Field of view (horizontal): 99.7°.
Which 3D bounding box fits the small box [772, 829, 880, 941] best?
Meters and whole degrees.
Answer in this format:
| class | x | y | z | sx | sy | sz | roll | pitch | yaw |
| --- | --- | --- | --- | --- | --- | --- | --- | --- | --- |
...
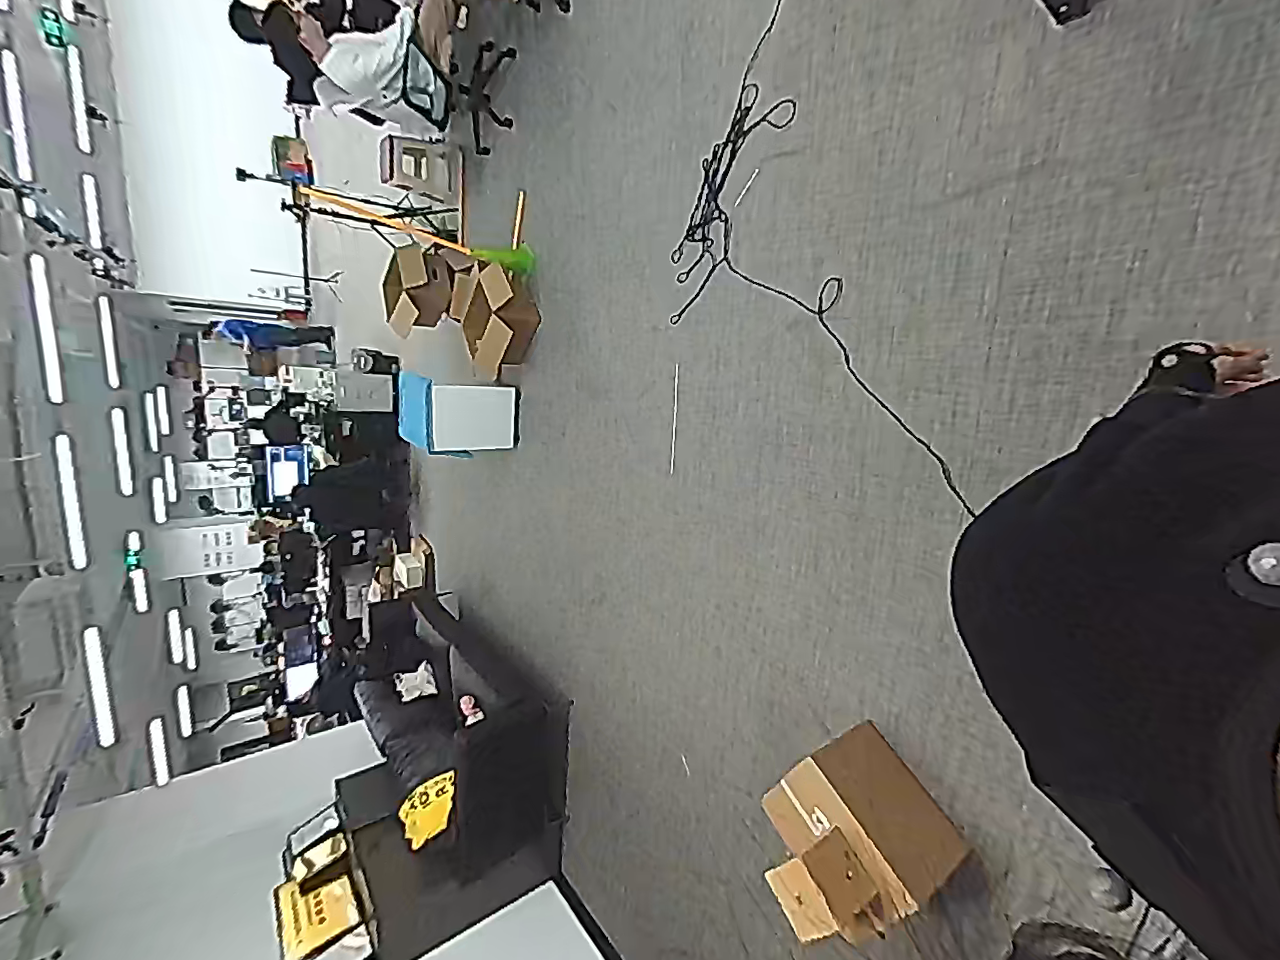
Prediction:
| class | x | y | z | sx | sy | sz | roll | pitch | yaw |
| --- | --- | --- | --- | --- | --- | --- | --- | --- | --- |
| small box | 0.491 | 1.062 | 1.425 | 0.168 | 0.176 | 0.179 | 57 | 136 | 33 |
